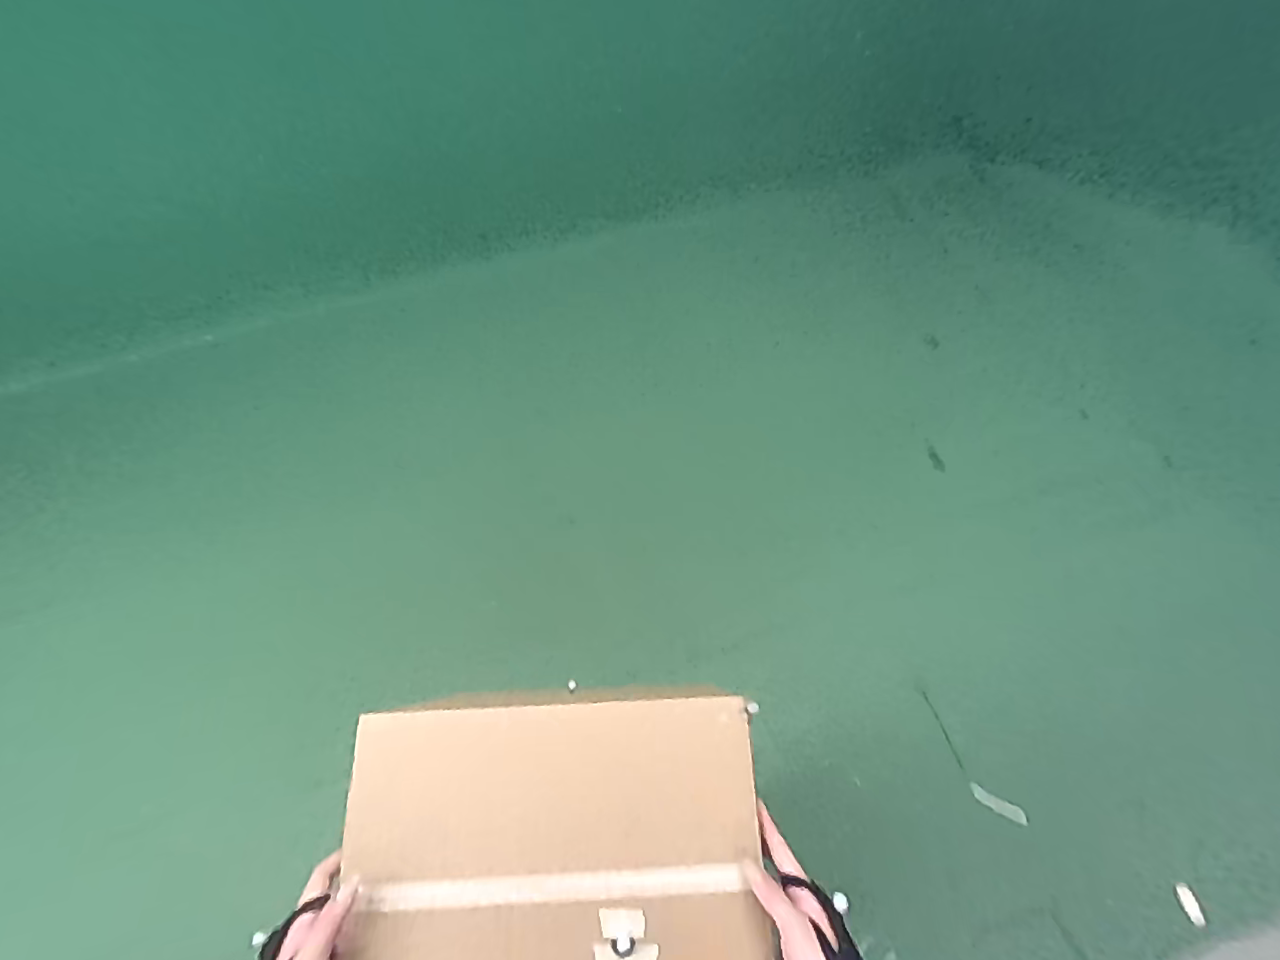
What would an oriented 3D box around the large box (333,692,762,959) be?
[{"bbox_3d":[-0.091,0.441,0.659,0.408,0.320,0.320,-3,72,-2],"label":"large box"}]
